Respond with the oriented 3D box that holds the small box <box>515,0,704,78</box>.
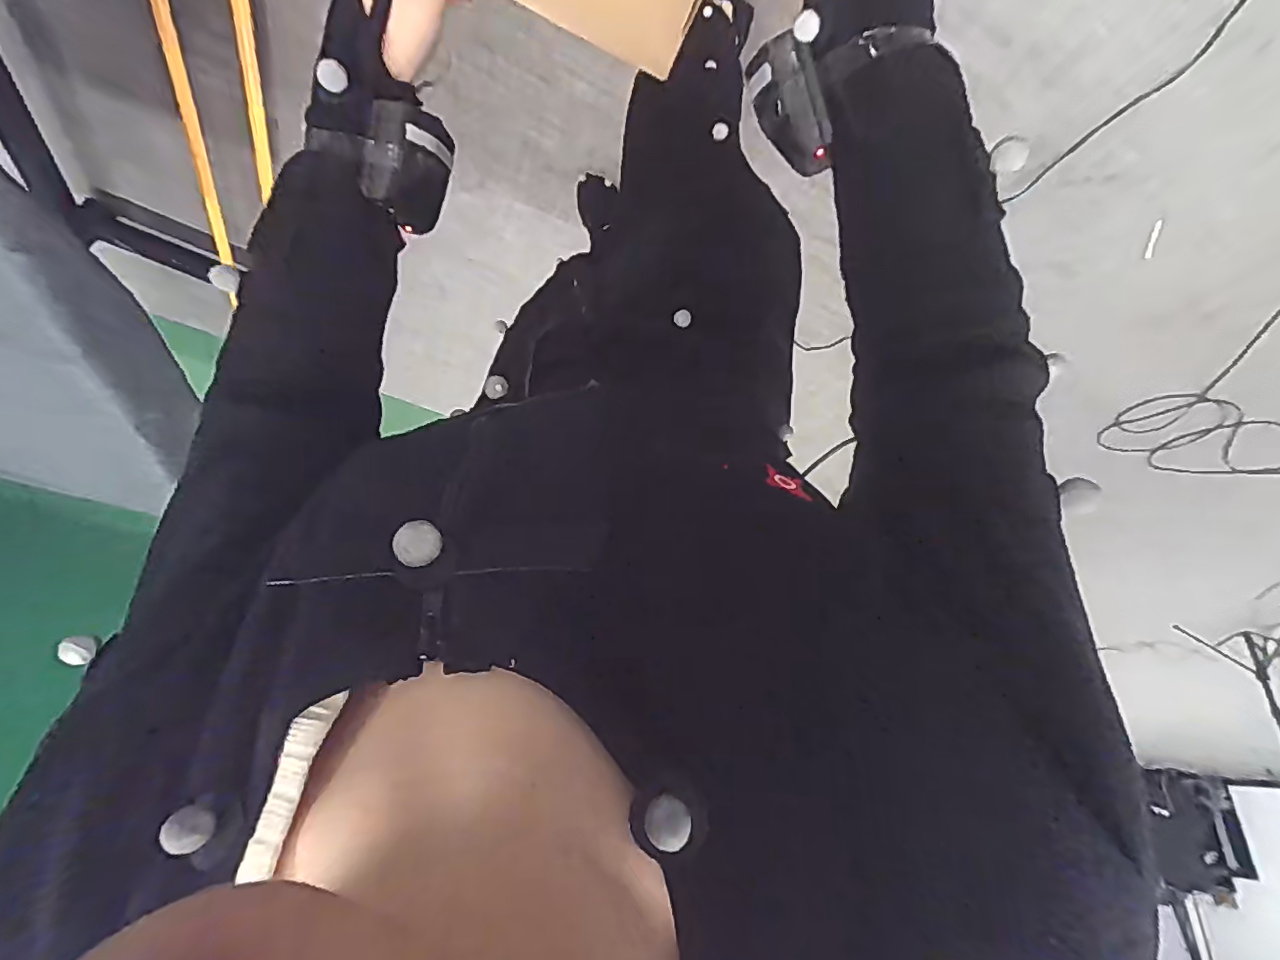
[{"bbox_3d":[-0.017,-0.392,0.303,0.179,0.176,0.168,19,154,-15],"label":"small box"}]
